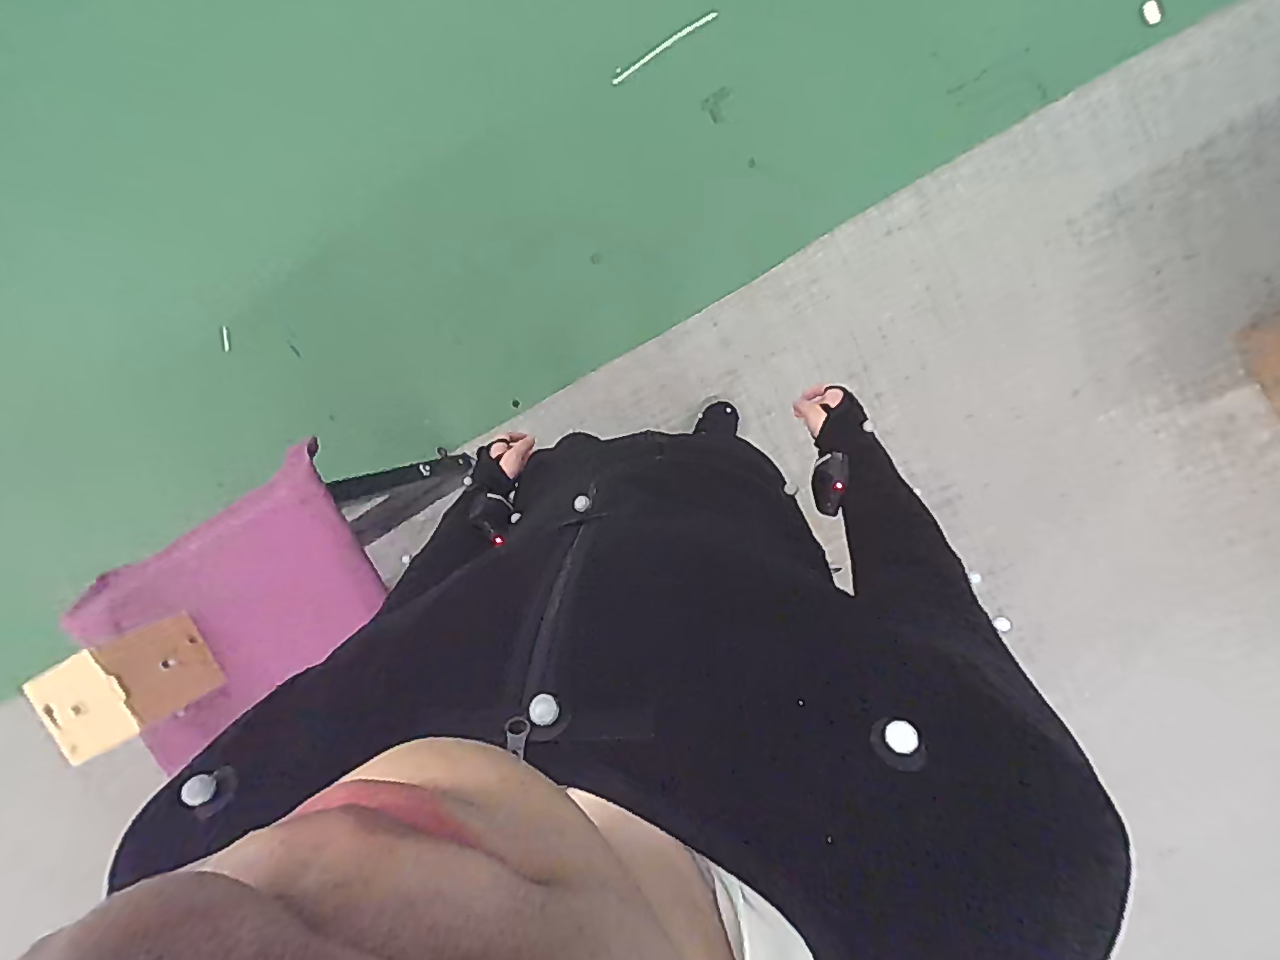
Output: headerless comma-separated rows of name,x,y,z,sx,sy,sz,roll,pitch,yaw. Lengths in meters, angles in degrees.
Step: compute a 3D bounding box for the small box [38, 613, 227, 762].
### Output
small box,-0.922,0.375,1.005,0.179,0.176,0.168,-28,93,11
